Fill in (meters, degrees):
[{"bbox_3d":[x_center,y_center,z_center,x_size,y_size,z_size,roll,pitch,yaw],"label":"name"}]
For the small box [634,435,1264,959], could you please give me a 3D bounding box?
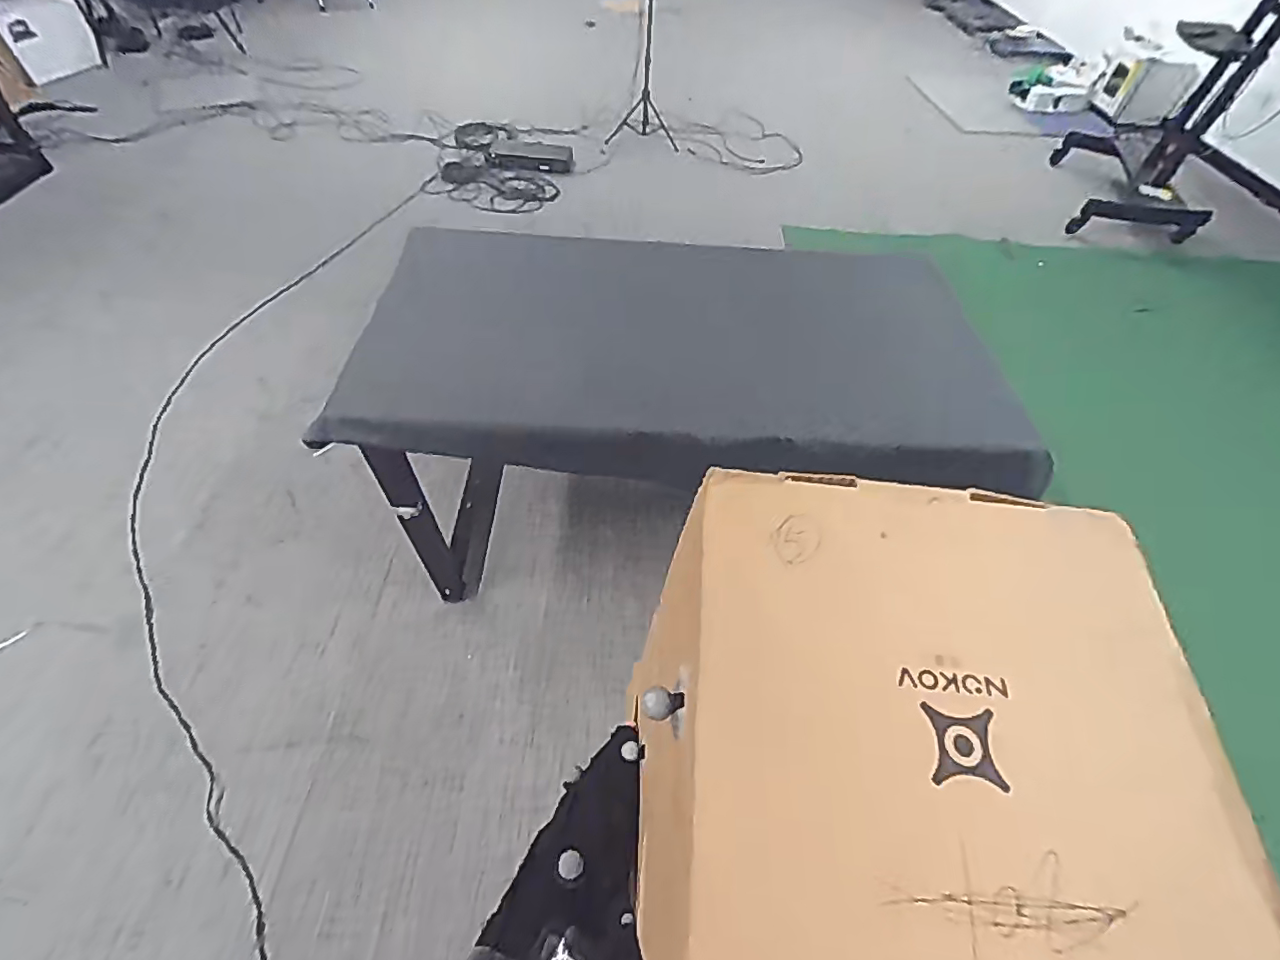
[{"bbox_3d":[0.087,0.104,0.249,0.168,0.176,0.179,6,60,0],"label":"small box"}]
